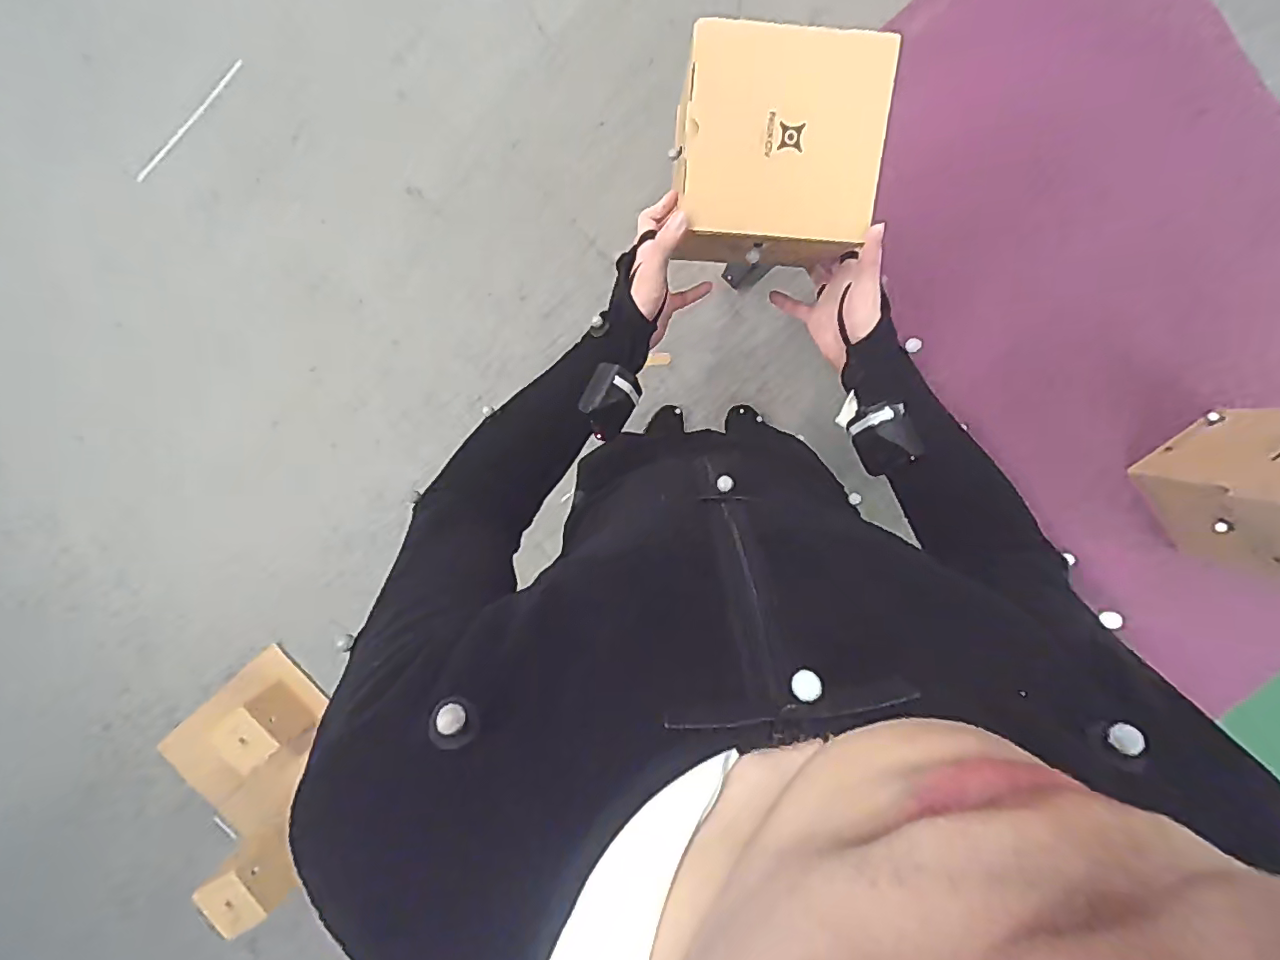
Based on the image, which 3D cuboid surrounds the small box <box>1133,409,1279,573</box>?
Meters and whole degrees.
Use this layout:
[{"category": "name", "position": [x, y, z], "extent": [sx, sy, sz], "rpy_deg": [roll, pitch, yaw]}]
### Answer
[{"category": "small box", "position": [0.891, 0.010, 0.785], "extent": [0.168, 0.176, 0.179], "rpy_deg": [-38, 96, 8]}]

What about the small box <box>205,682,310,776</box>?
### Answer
[{"category": "small box", "position": [-1.202, 0.782, 1.715], "extent": [0.168, 0.176, 0.179], "rpy_deg": [-38, 95, 7]}]

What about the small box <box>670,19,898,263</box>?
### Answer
[{"category": "small box", "position": [0.127, -0.321, 0.550], "extent": [0.179, 0.176, 0.168], "rpy_deg": [3, 105, 0]}]

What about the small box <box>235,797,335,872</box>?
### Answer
[{"category": "small box", "position": [-1.153, 1.180, 1.770], "extent": [0.168, 0.176, 0.179], "rpy_deg": [-31, 96, 7]}]

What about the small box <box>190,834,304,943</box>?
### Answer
[{"category": "small box", "position": [-1.157, 1.198, 1.604], "extent": [0.168, 0.176, 0.179], "rpy_deg": [-31, 96, 7]}]
